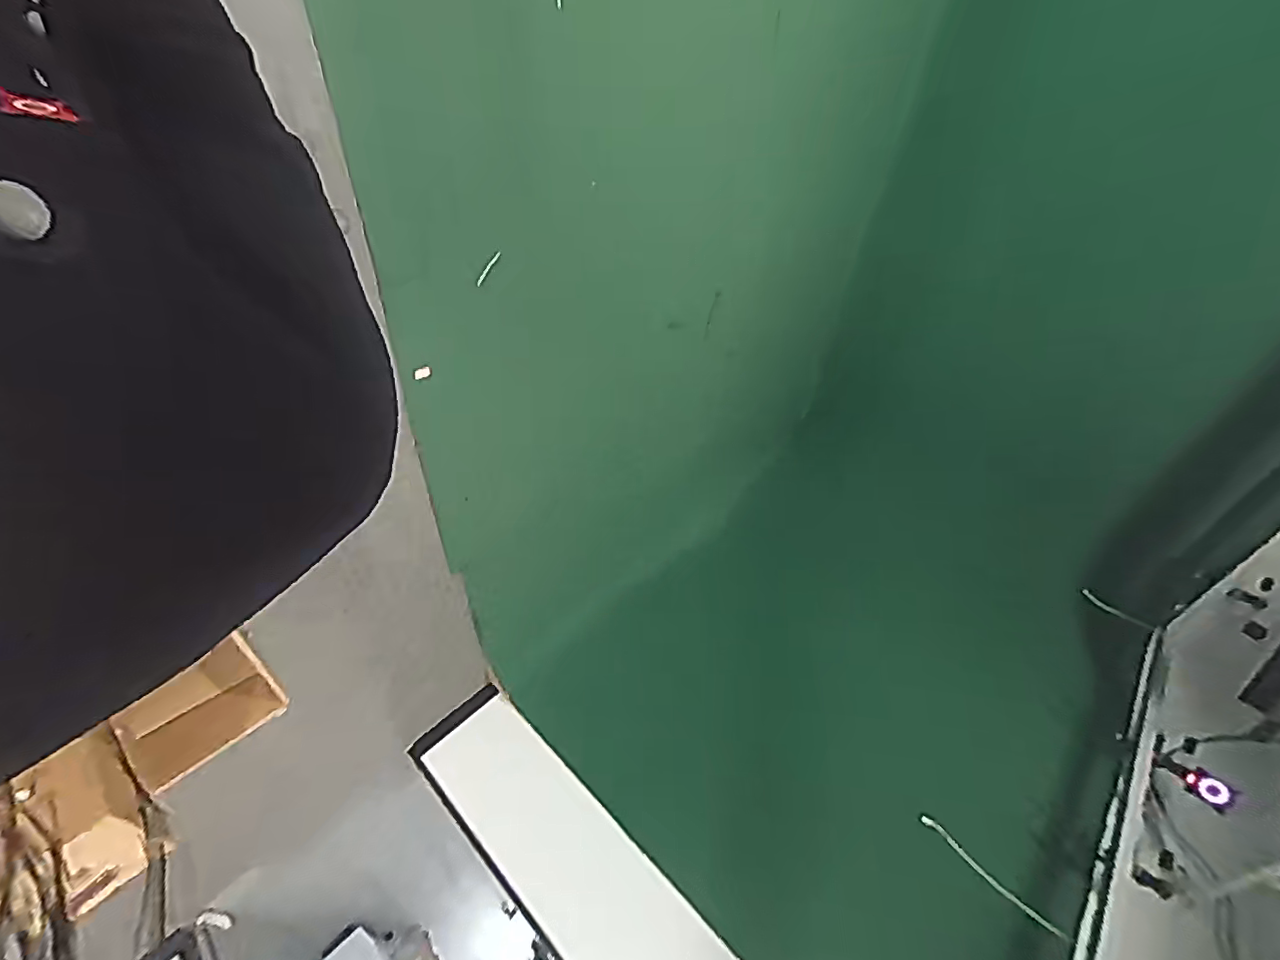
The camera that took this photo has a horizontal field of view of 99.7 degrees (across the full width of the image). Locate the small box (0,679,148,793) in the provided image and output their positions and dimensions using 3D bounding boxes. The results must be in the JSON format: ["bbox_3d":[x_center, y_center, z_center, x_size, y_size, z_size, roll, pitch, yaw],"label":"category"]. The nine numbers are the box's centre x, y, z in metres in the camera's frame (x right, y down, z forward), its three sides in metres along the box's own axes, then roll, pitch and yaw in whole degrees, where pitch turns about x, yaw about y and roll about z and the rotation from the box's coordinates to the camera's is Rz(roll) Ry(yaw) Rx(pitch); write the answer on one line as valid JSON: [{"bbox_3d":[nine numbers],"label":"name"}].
[{"bbox_3d":[-0.993,0.470,0.907,0.168,0.176,0.179,-38,146,-32],"label":"small box"}]

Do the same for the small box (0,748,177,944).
[{"bbox_3d":[-0.874,0.552,0.830,0.168,0.176,0.179,-37,145,-34],"label":"small box"}]
